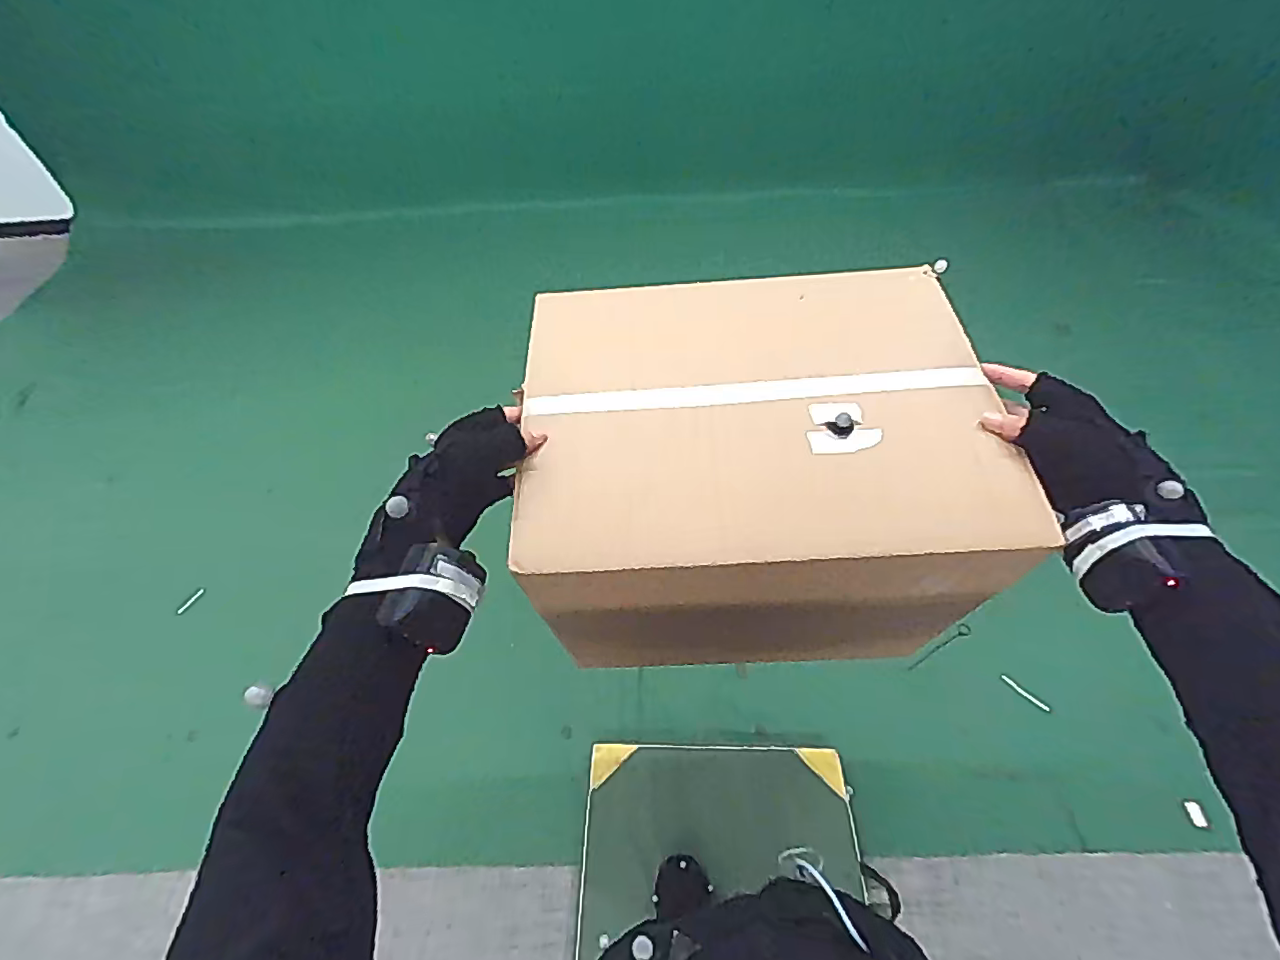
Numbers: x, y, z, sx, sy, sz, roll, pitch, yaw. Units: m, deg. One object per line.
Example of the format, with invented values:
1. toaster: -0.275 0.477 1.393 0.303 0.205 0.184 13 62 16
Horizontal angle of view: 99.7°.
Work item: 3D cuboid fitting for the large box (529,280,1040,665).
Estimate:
1. large box: 0.109 0.010 0.618 0.408 0.320 0.320 -3 59 2
